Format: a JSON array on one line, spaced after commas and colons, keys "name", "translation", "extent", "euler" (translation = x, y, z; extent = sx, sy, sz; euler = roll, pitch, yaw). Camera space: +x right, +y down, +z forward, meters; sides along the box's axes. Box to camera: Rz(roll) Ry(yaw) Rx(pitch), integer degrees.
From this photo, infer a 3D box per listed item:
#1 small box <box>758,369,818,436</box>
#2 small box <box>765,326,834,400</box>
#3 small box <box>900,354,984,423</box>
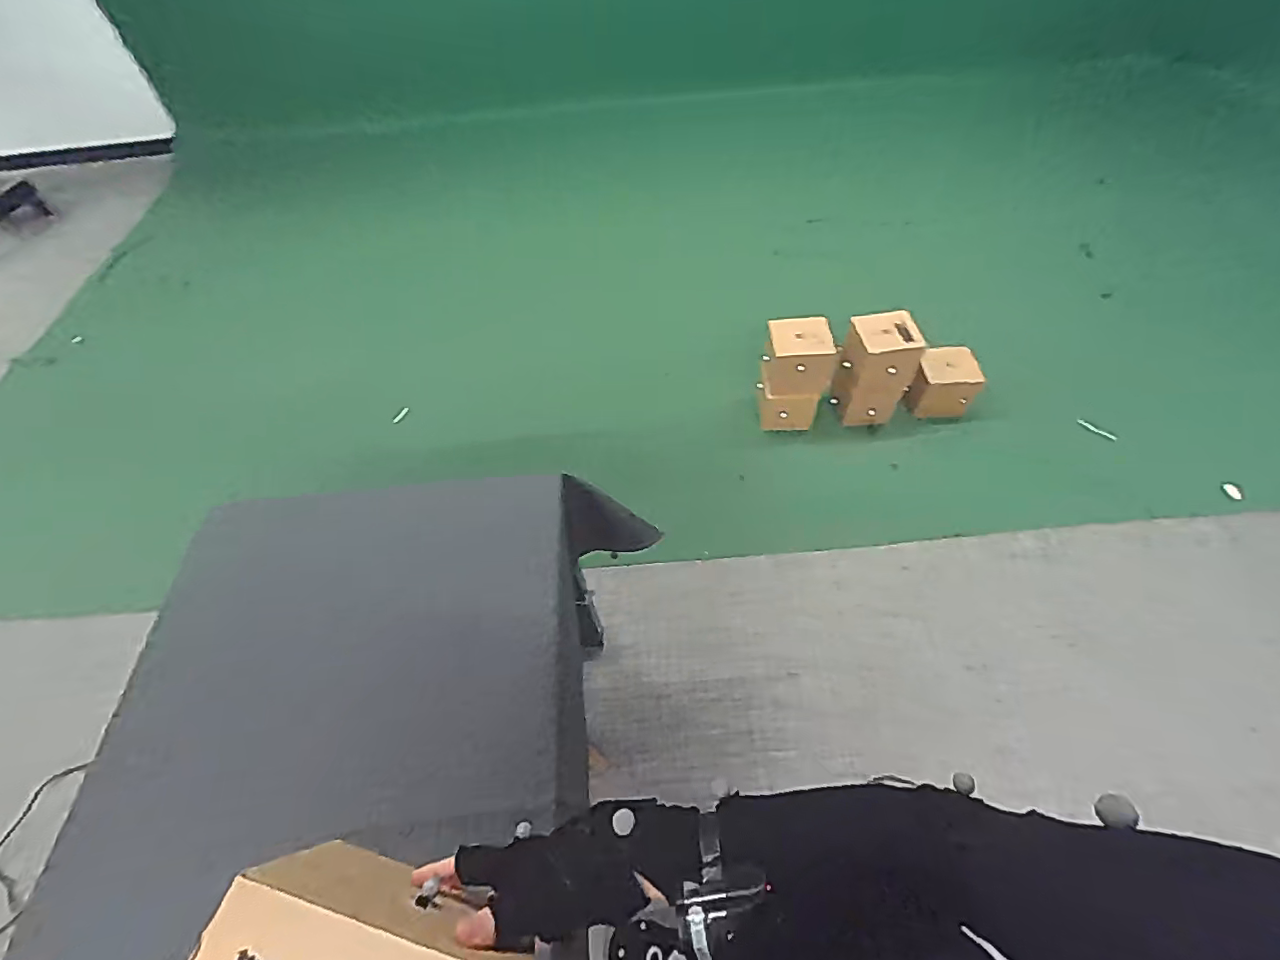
[{"name": "small box", "translation": [0.499, -0.262, 1.841], "extent": [0.168, 0.176, 0.179], "euler": [-1, 54, 4]}, {"name": "small box", "translation": [0.497, -0.366, 1.712], "extent": [0.179, 0.176, 0.168], "euler": [-2, 54, 4]}, {"name": "small box", "translation": [1.014, -0.306, 1.831], "extent": [0.179, 0.176, 0.168], "euler": [-1, 54, 3]}]
